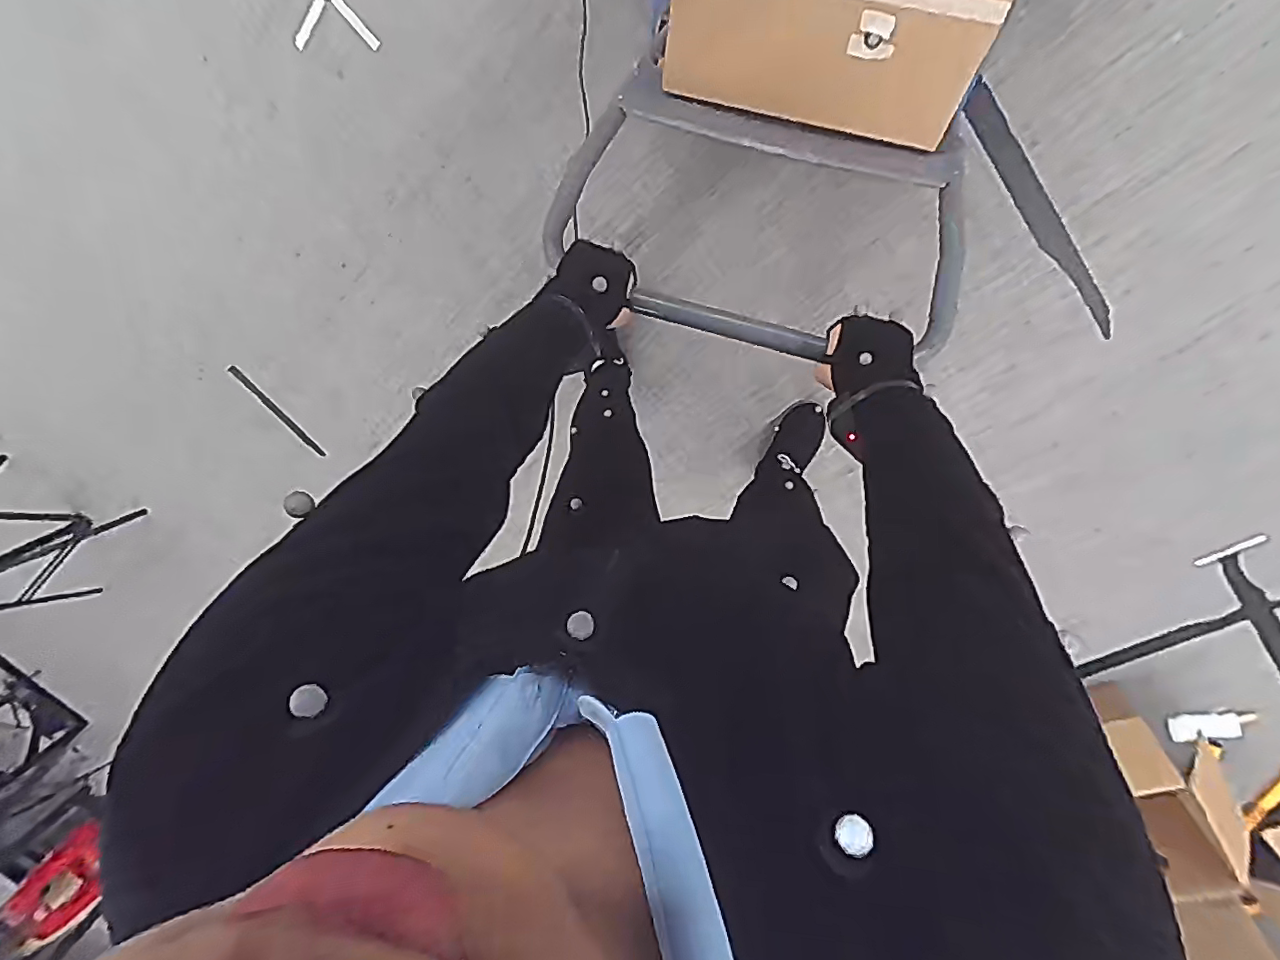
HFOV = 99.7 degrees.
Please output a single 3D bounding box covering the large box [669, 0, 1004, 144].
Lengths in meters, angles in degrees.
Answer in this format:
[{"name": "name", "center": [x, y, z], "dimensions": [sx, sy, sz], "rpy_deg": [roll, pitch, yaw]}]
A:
[{"name": "large box", "center": [0.281, -0.733, 0.754], "dimensions": [0.408, 0.320, 0.320], "rpy_deg": [16, 146, 5]}]
